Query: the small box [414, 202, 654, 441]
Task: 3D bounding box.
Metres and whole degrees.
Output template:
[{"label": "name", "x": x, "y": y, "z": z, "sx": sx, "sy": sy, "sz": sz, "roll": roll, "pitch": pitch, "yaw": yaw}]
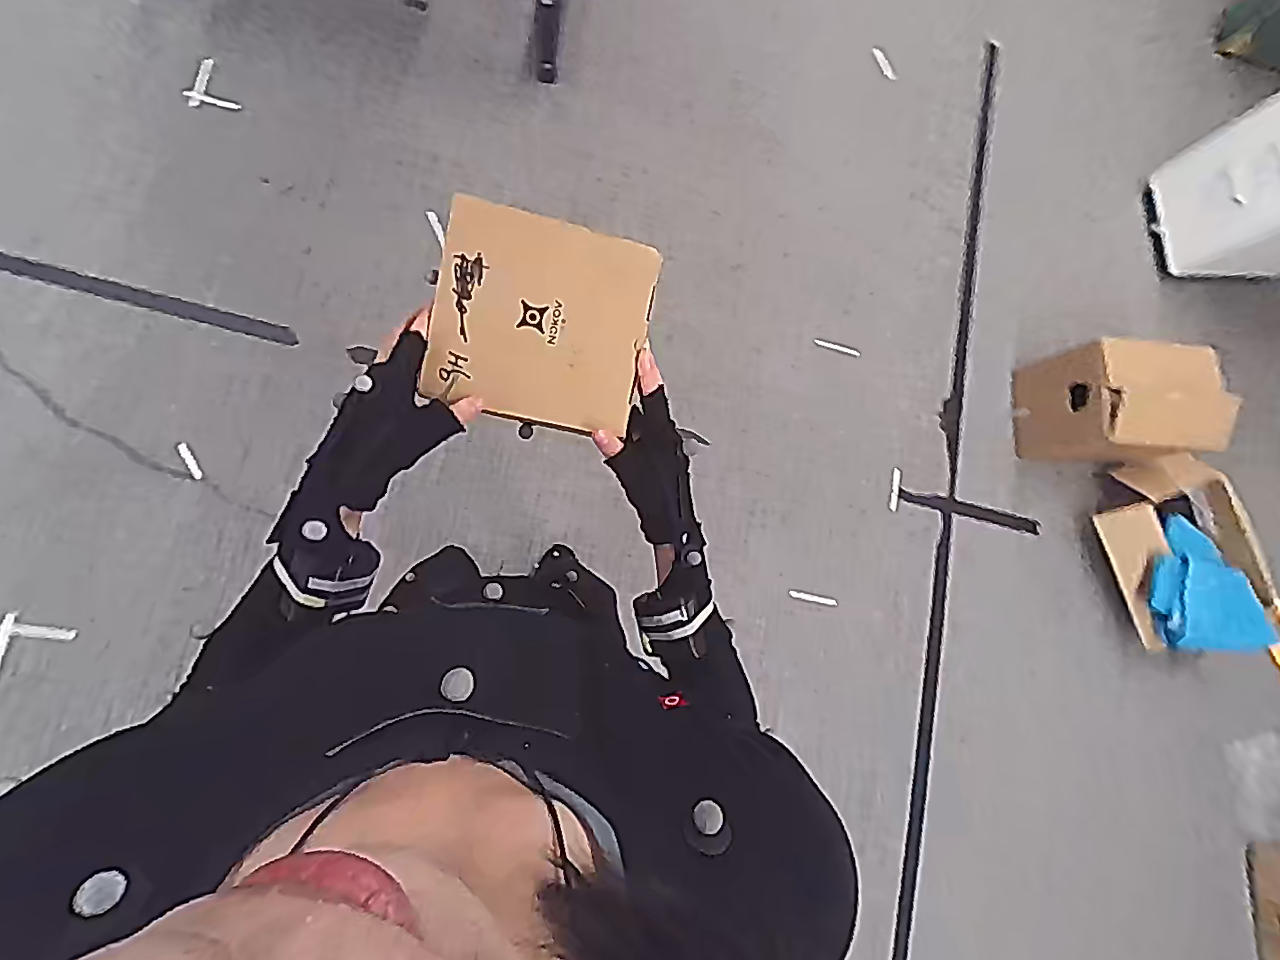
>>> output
[{"label": "small box", "x": -0.101, "y": -0.136, "z": 0.530, "sx": 0.179, "sy": 0.176, "sz": 0.168, "roll": 10, "pitch": 92, "yaw": -12}]
